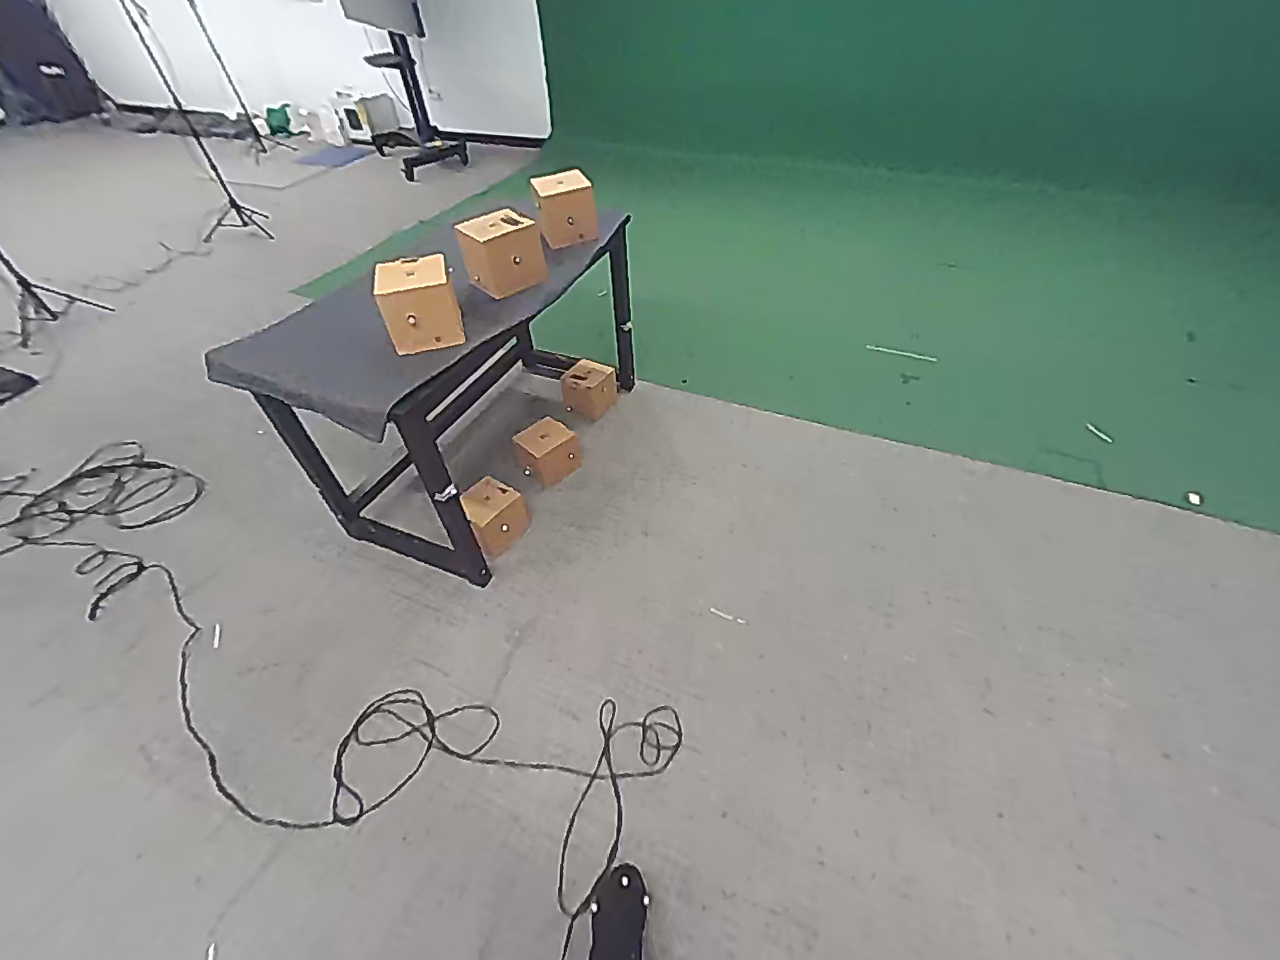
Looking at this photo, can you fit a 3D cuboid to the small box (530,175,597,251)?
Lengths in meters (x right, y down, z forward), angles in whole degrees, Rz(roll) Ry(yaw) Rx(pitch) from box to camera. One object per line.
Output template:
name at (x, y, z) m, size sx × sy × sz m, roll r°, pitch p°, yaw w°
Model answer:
small box at (-0.247, -0.870, 1.770) m, size 0.168 × 0.176 × 0.179 m, roll -17°, pitch 47°, yaw -10°

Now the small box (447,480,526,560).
small box at (-0.508, 0.137, 1.820) m, size 0.168 × 0.176 × 0.179 m, roll 27°, pitch 53°, yaw 26°

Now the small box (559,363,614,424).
small box at (-0.221, -0.366, 2.301) m, size 0.168 × 0.176 × 0.179 m, roll 21°, pitch 49°, yaw 21°

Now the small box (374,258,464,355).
small box at (-0.550, -0.429, 1.358) m, size 0.168 × 0.176 × 0.179 m, roll -14°, pitch 46°, yaw -11°

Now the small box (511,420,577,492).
small box at (-0.353, -0.088, 2.034) m, size 0.168 × 0.176 × 0.179 m, roll 34°, pitch 57°, yaw 31°
